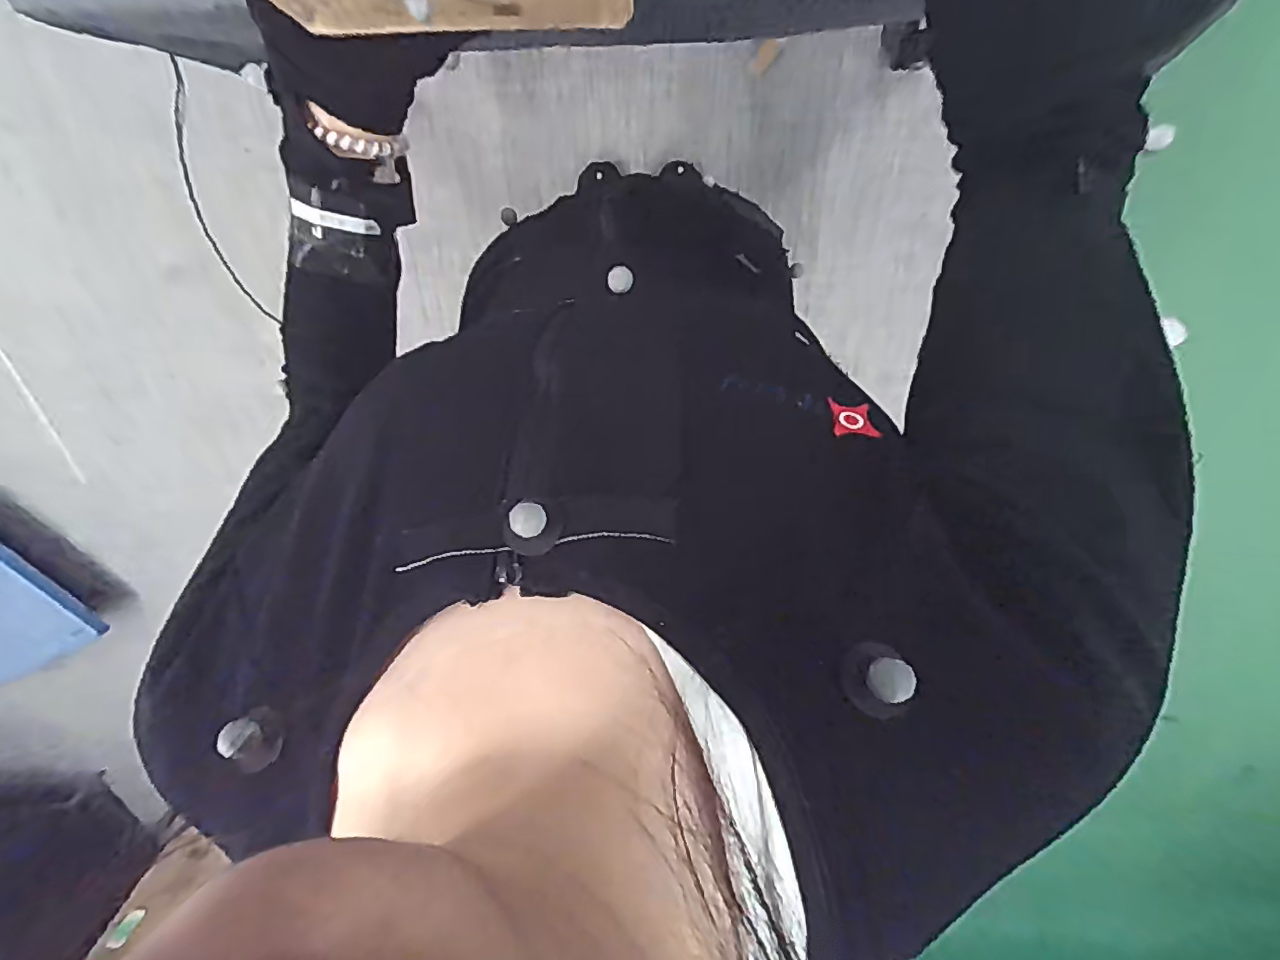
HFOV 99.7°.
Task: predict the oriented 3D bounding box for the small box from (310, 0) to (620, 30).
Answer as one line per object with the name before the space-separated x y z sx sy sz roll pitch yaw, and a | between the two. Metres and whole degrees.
small box | -0.083 -0.279 0.168 0.168 0.176 0.179 -6 116 -3
